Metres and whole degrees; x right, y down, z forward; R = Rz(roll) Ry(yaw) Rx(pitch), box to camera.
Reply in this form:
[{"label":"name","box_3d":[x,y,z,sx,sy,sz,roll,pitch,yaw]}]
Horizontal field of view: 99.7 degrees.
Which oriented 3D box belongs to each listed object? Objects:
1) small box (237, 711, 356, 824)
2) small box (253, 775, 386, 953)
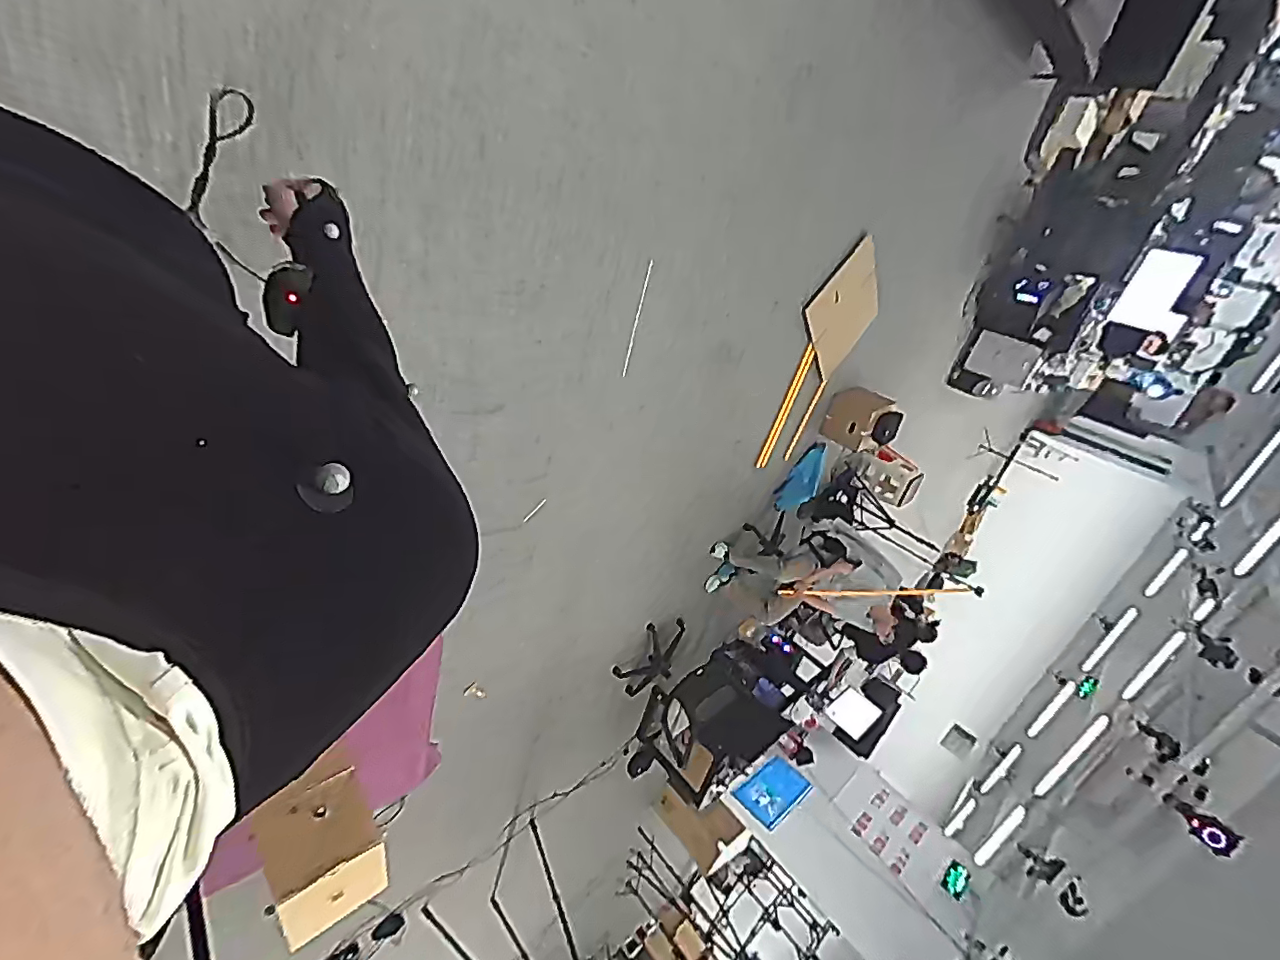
[{"label":"small box","box_3d":[-0.684,0.608,1.083,0.168,0.176,0.179,-15,129,-41]},{"label":"small box","box_3d":[-0.581,0.689,0.987,0.168,0.176,0.179,-17,130,-39]}]
